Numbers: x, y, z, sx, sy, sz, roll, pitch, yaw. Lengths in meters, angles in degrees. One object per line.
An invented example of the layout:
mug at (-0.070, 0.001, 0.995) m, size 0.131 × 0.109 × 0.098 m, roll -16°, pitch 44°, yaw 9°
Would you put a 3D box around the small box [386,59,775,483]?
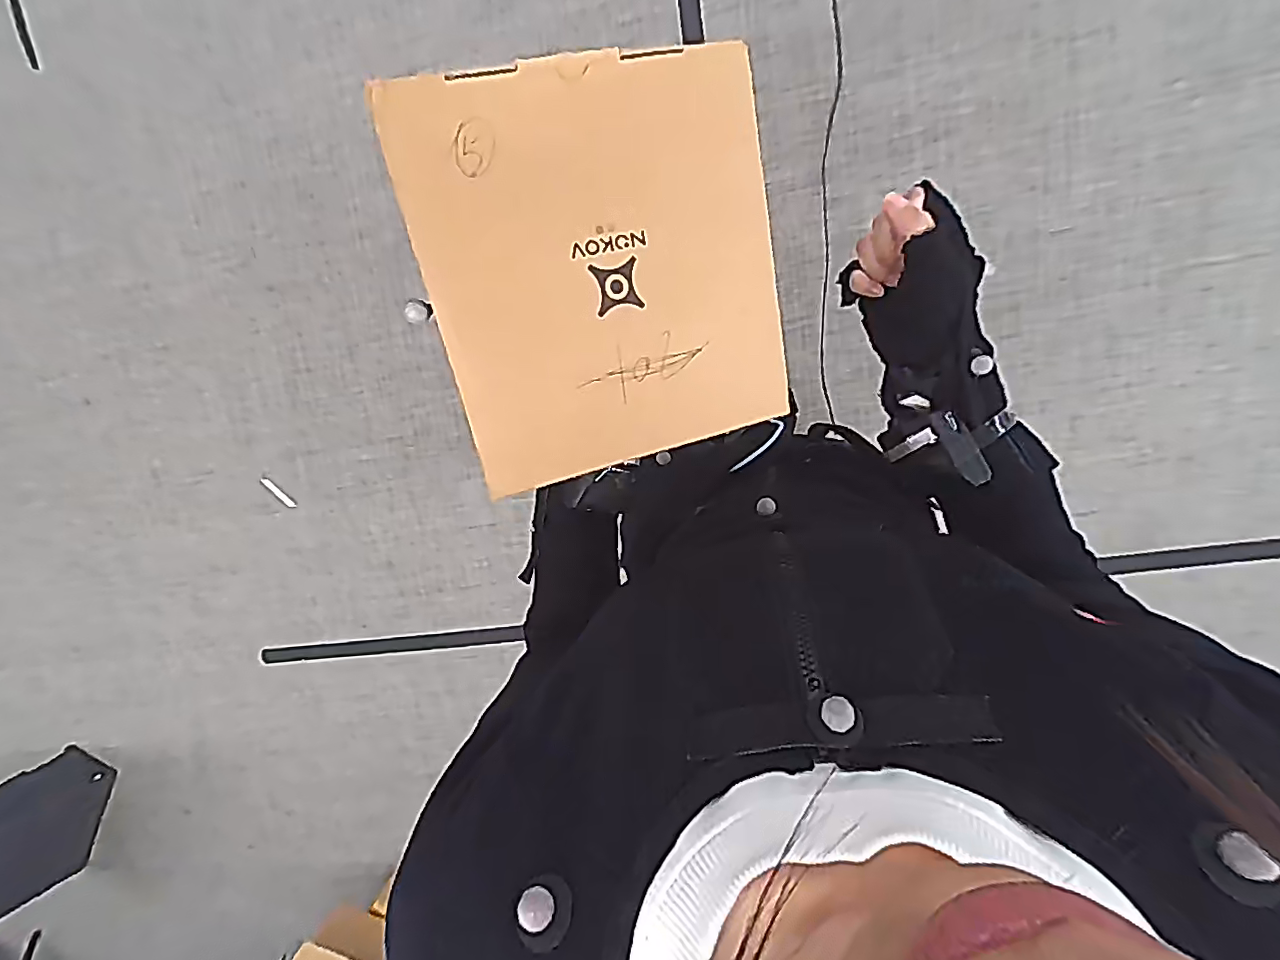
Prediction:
small box at (-0.039, -0.118, 0.339) m, size 0.168 × 0.176 × 0.179 m, roll -17°, pitch 109°, yaw -13°
